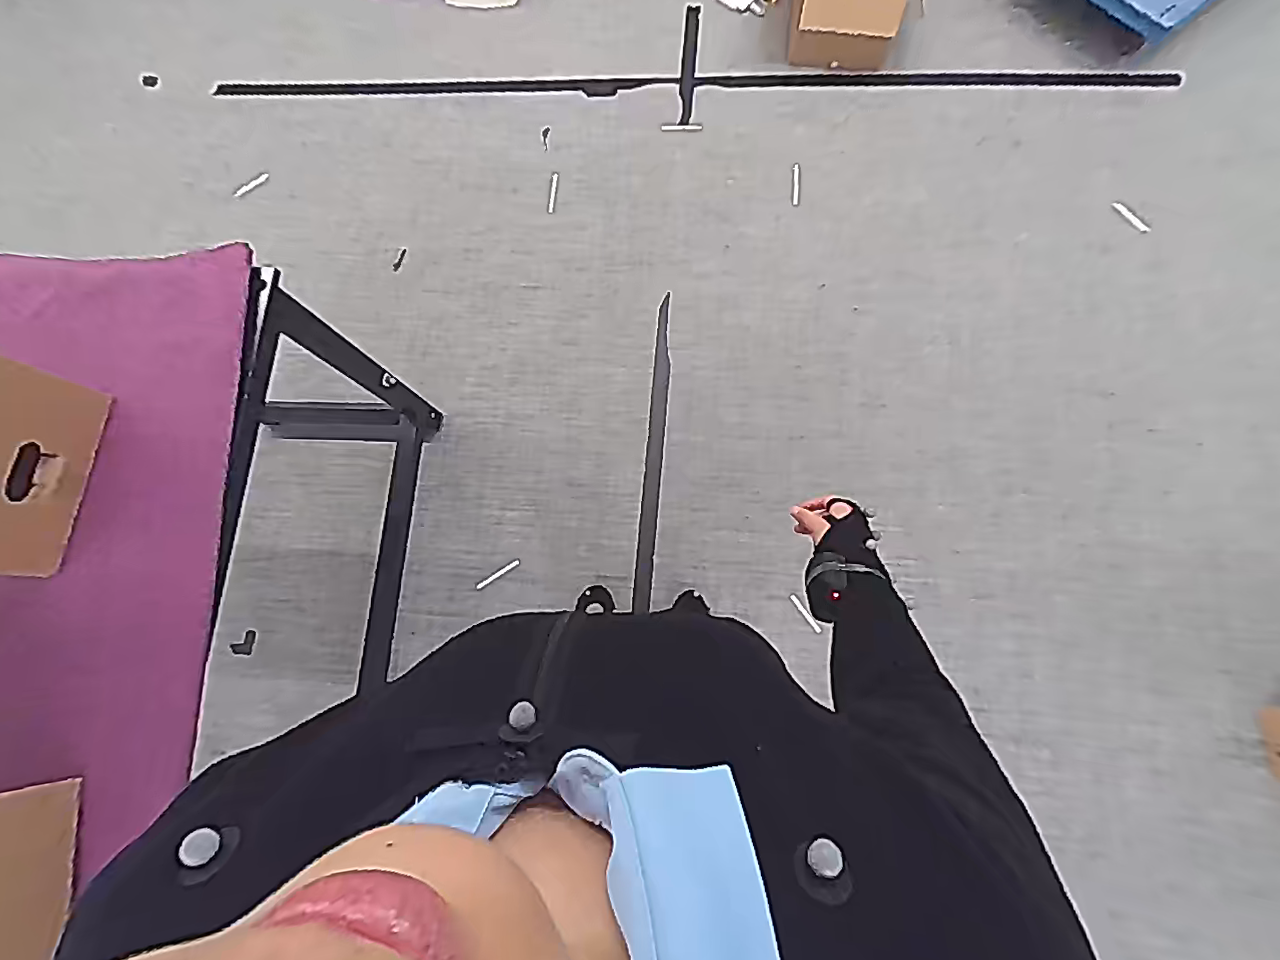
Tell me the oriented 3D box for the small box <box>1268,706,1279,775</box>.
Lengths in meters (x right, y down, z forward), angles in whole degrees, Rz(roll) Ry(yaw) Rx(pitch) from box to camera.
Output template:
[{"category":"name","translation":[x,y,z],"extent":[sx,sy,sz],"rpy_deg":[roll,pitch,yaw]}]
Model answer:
[{"category":"small box","translation":[1.609,0.620,1.232],"extent":[0.179,0.176,0.168],"rpy_deg":[1,77,4]}]
